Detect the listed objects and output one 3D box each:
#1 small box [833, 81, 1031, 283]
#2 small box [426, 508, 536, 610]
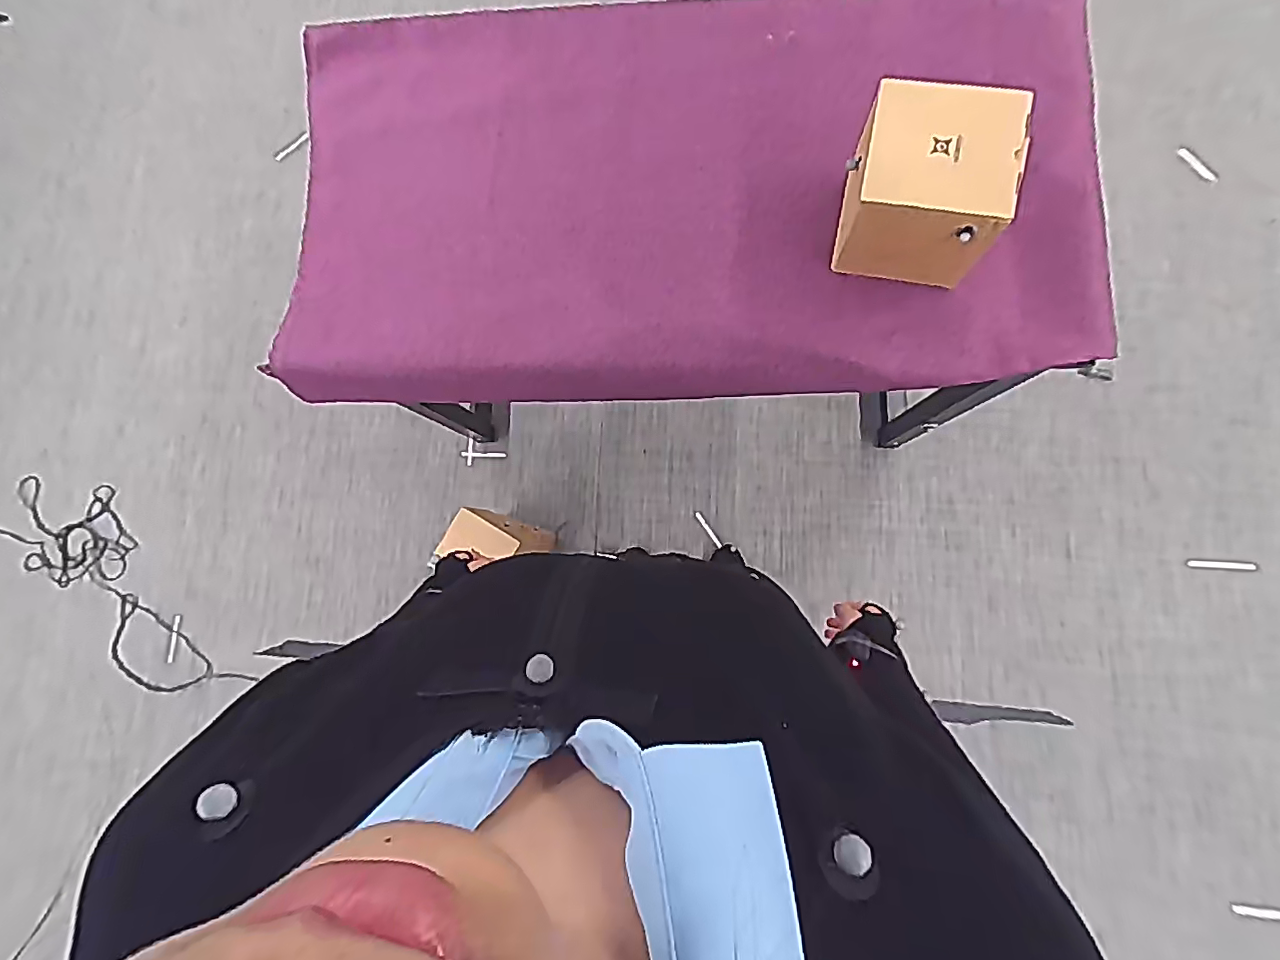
[{"bbox_3d":[0.372,-0.385,0.721,0.179,0.176,0.168,11,84,8],"label":"small box"},{"bbox_3d":[-0.370,0.185,1.299,0.168,0.176,0.179,30,88,8],"label":"small box"}]
